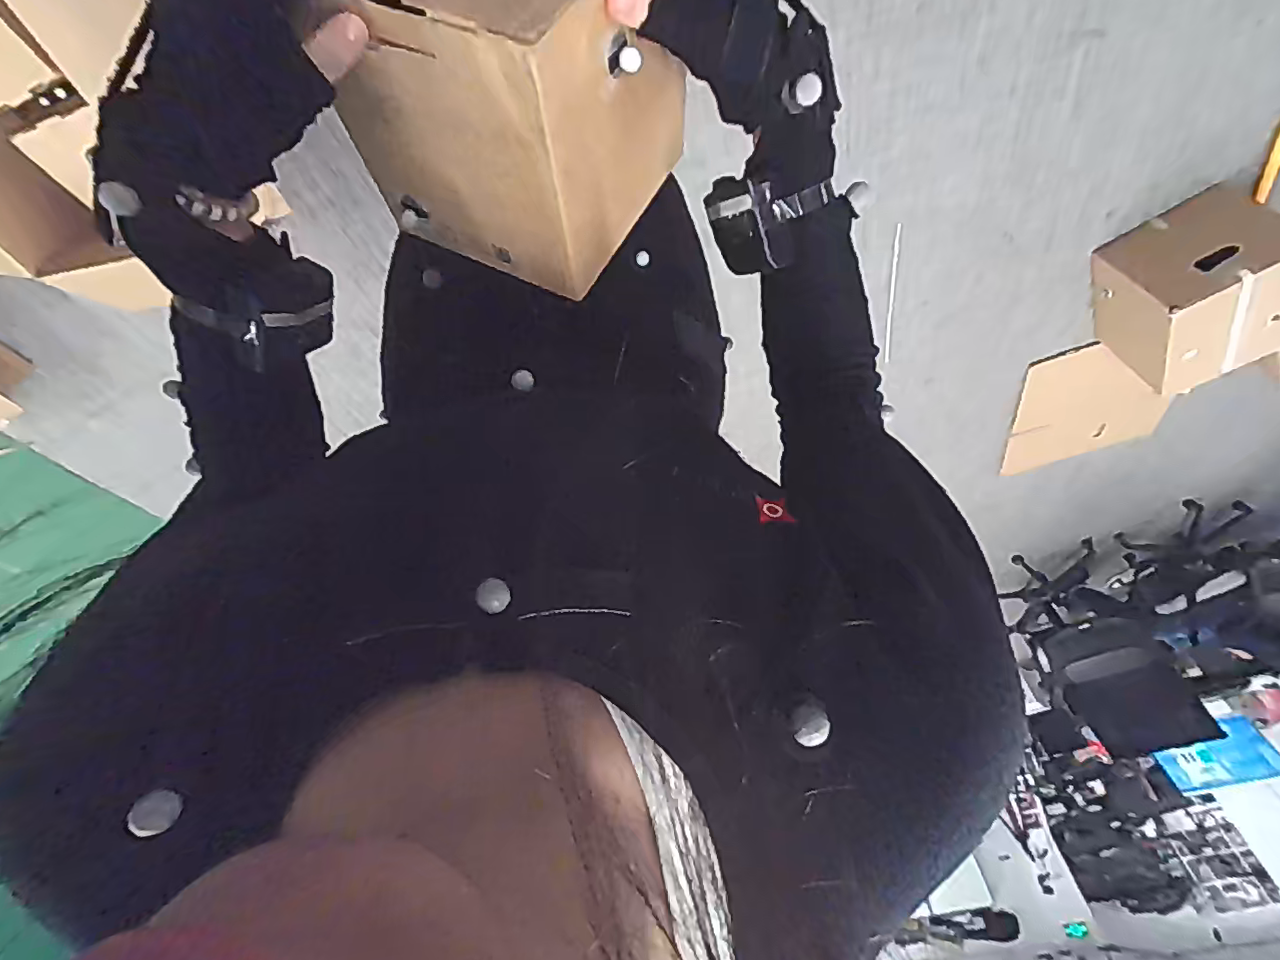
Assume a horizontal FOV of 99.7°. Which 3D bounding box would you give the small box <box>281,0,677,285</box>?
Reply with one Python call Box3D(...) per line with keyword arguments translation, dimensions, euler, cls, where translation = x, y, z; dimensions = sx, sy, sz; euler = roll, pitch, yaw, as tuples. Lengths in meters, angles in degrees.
Box3D(translation=(-0.079, -0.267, 0.363), dimensions=(0.168, 0.179, 0.176), euler=(25, 160, 11), cls="small box")
